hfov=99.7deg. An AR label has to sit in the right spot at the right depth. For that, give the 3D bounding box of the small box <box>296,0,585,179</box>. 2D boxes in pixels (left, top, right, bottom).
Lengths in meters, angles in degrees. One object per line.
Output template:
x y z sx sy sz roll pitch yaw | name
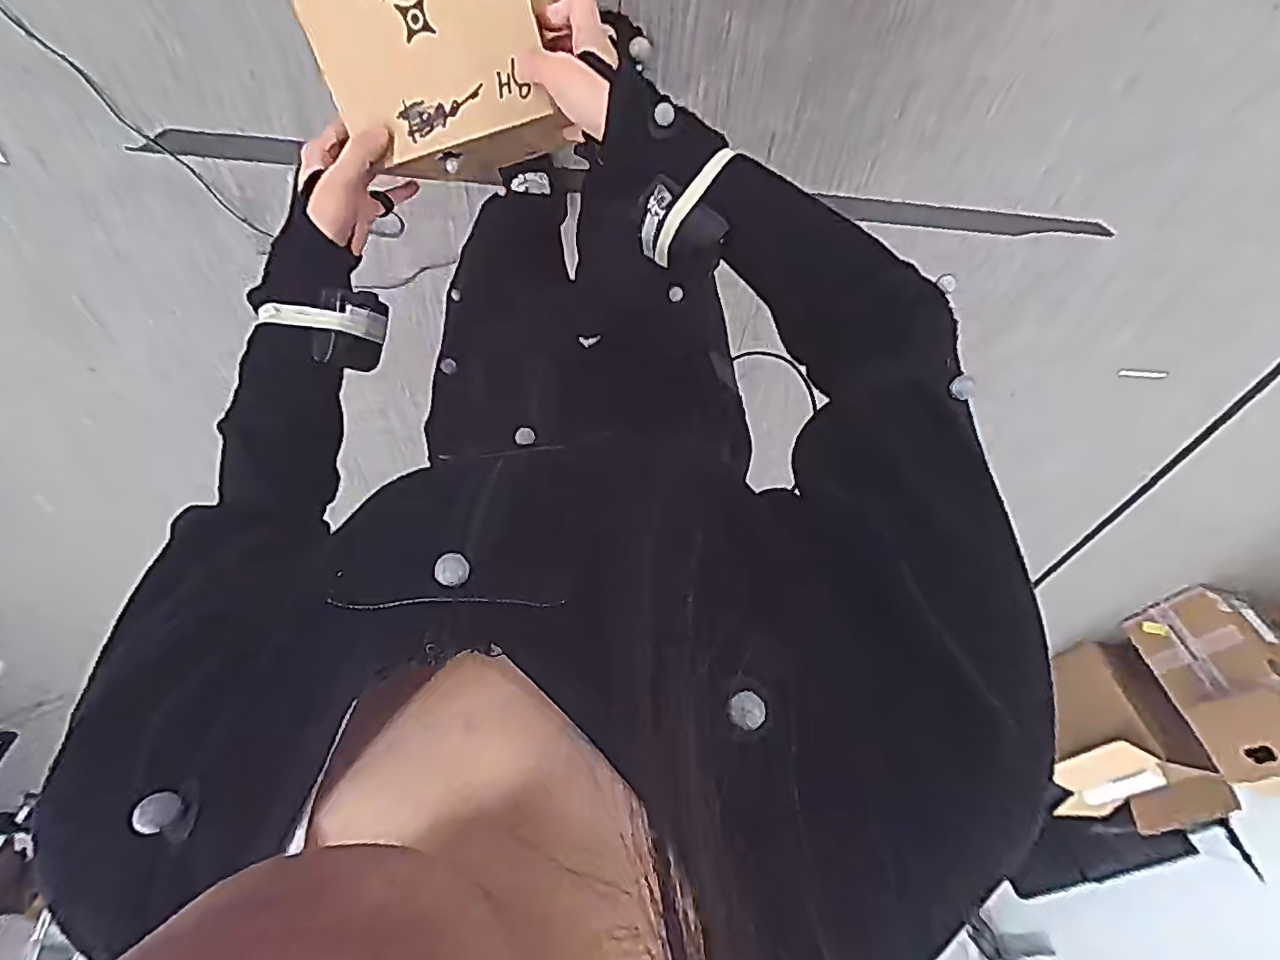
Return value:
-0.154 -0.369 0.448 0.168 0.176 0.179 -11 115 9 | small box
